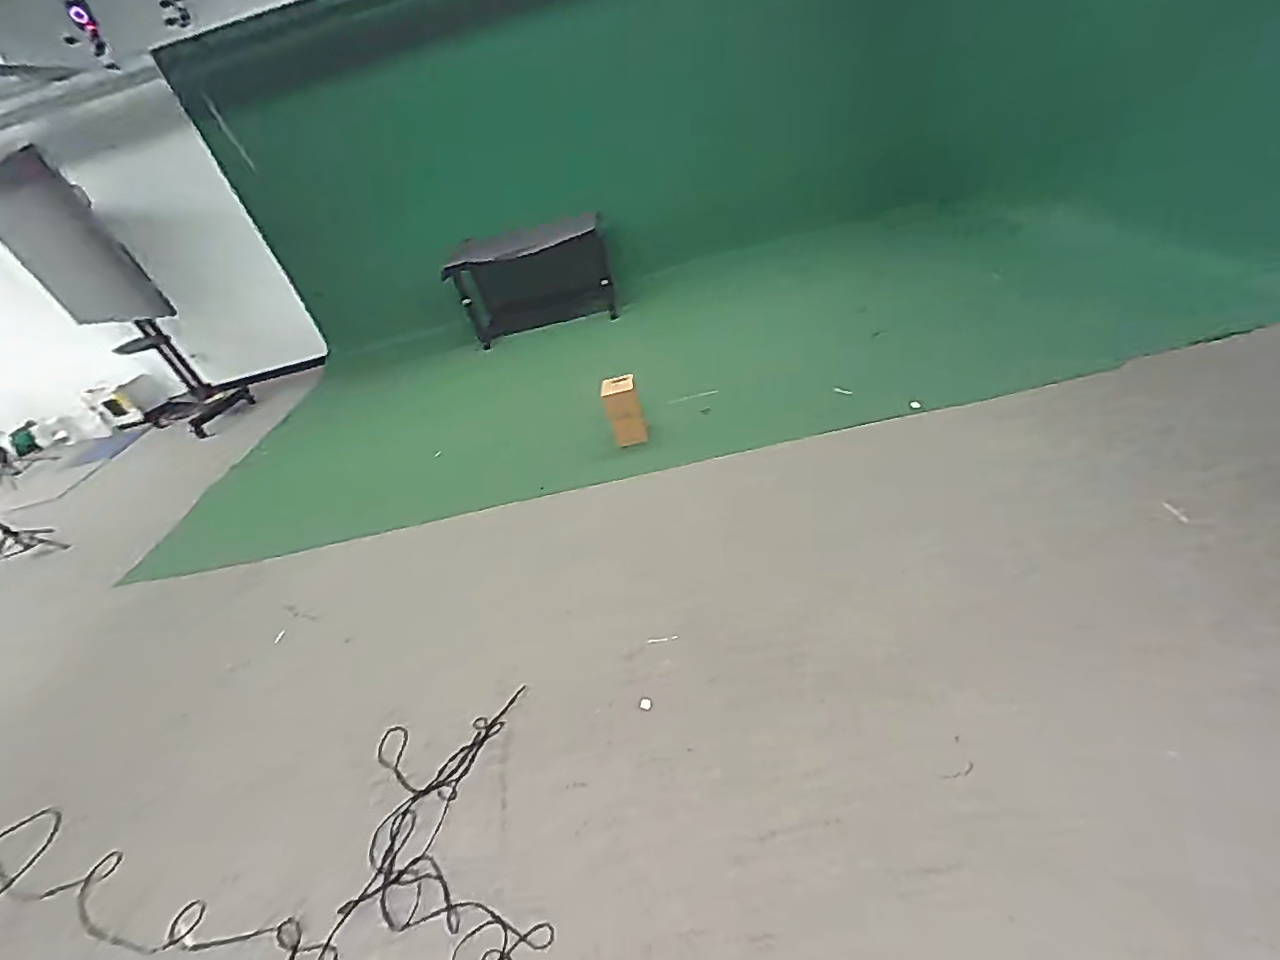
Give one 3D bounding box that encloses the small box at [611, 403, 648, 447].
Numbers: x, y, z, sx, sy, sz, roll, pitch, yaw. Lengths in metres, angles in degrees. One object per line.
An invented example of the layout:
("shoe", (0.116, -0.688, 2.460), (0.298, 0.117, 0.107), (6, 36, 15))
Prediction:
("small box", (-0.053, -0.292, 2.939), (0.168, 0.176, 0.179), (-12, 35, 7))
